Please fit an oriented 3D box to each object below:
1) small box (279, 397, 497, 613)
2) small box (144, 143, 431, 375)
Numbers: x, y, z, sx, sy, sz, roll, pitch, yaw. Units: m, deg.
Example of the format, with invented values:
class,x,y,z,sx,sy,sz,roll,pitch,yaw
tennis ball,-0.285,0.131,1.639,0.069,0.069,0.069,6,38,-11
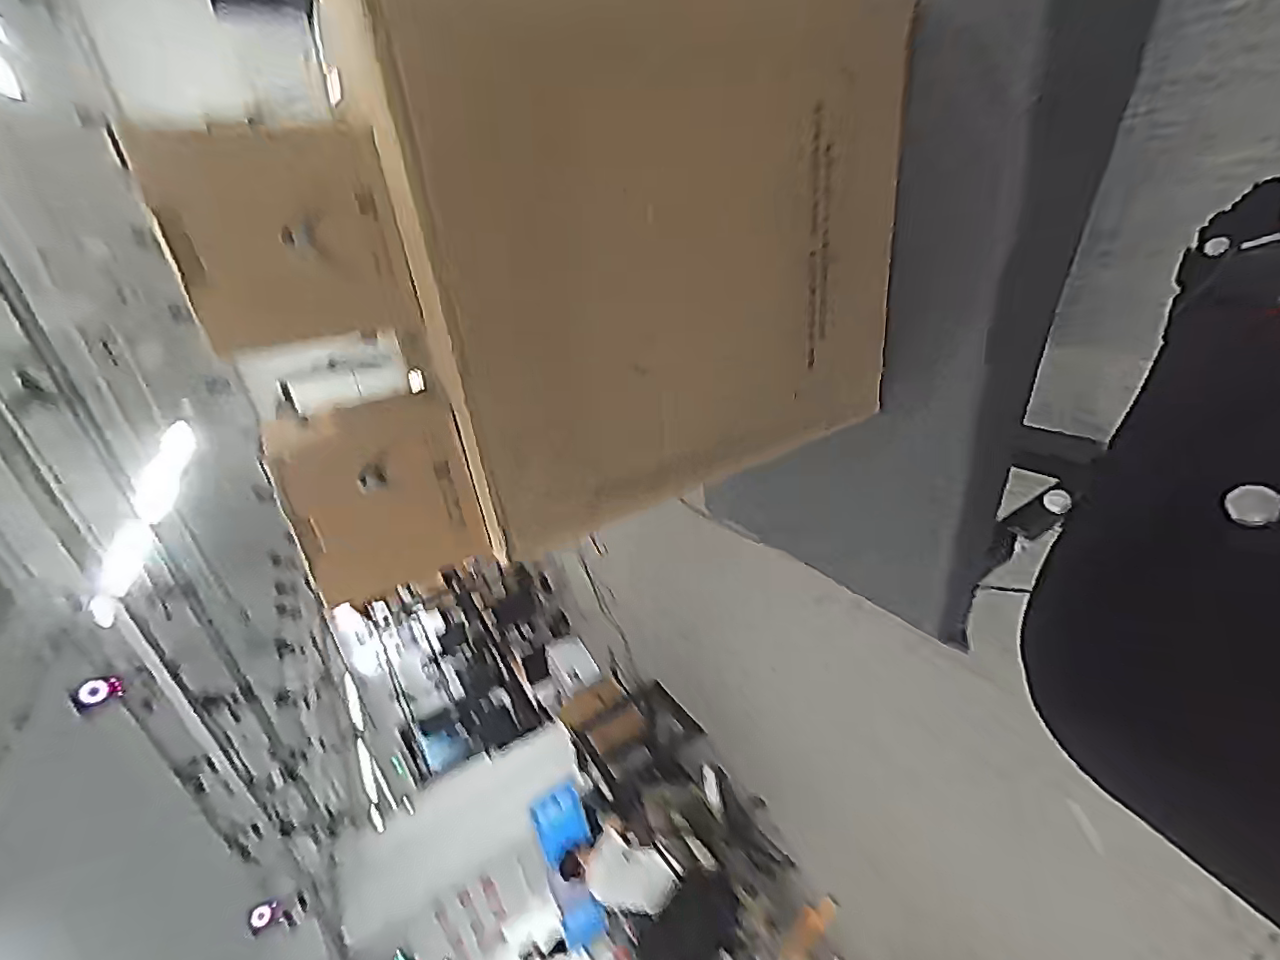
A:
class,x,y,z,sx,sy,sz,roll,pitch,yaw
small box,-0.273,0.012,0.603,0.179,0.176,0.168,24,129,54
small box,-0.317,-0.210,0.516,0.179,0.176,0.168,26,131,51
